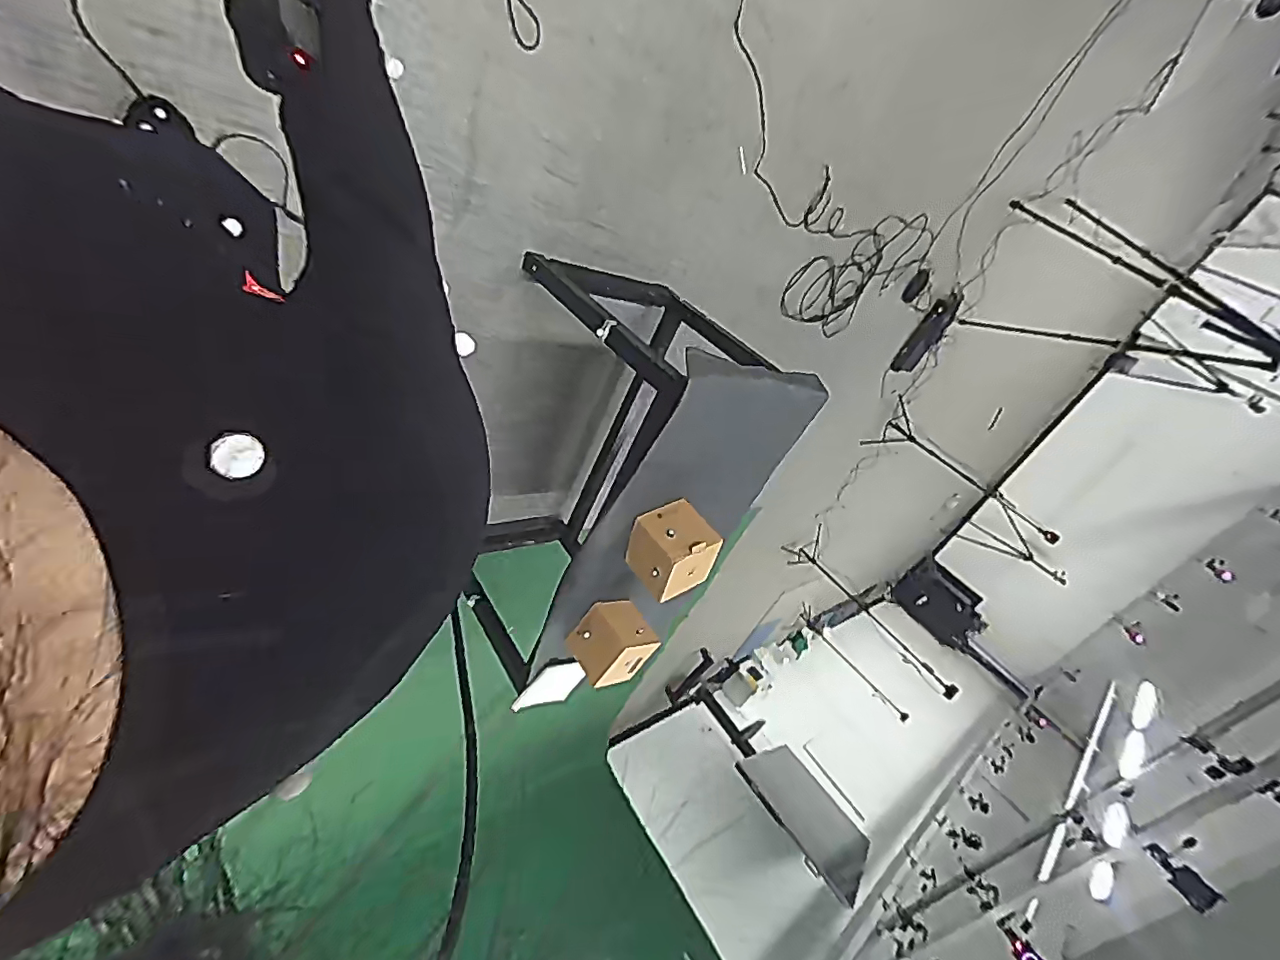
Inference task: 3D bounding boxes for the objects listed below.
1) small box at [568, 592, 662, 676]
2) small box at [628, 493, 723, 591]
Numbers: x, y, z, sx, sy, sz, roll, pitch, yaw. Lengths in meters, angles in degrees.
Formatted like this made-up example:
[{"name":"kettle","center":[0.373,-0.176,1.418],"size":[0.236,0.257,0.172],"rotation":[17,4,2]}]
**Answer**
[{"name":"small box","center":[-0.076,0.445,1.594],"size":[0.179,0.176,0.168],"rotation":[13,118,-53]},{"name":"small box","center":[0.087,0.154,1.428],"size":[0.168,0.176,0.179],"rotation":[-19,143,-31]}]
